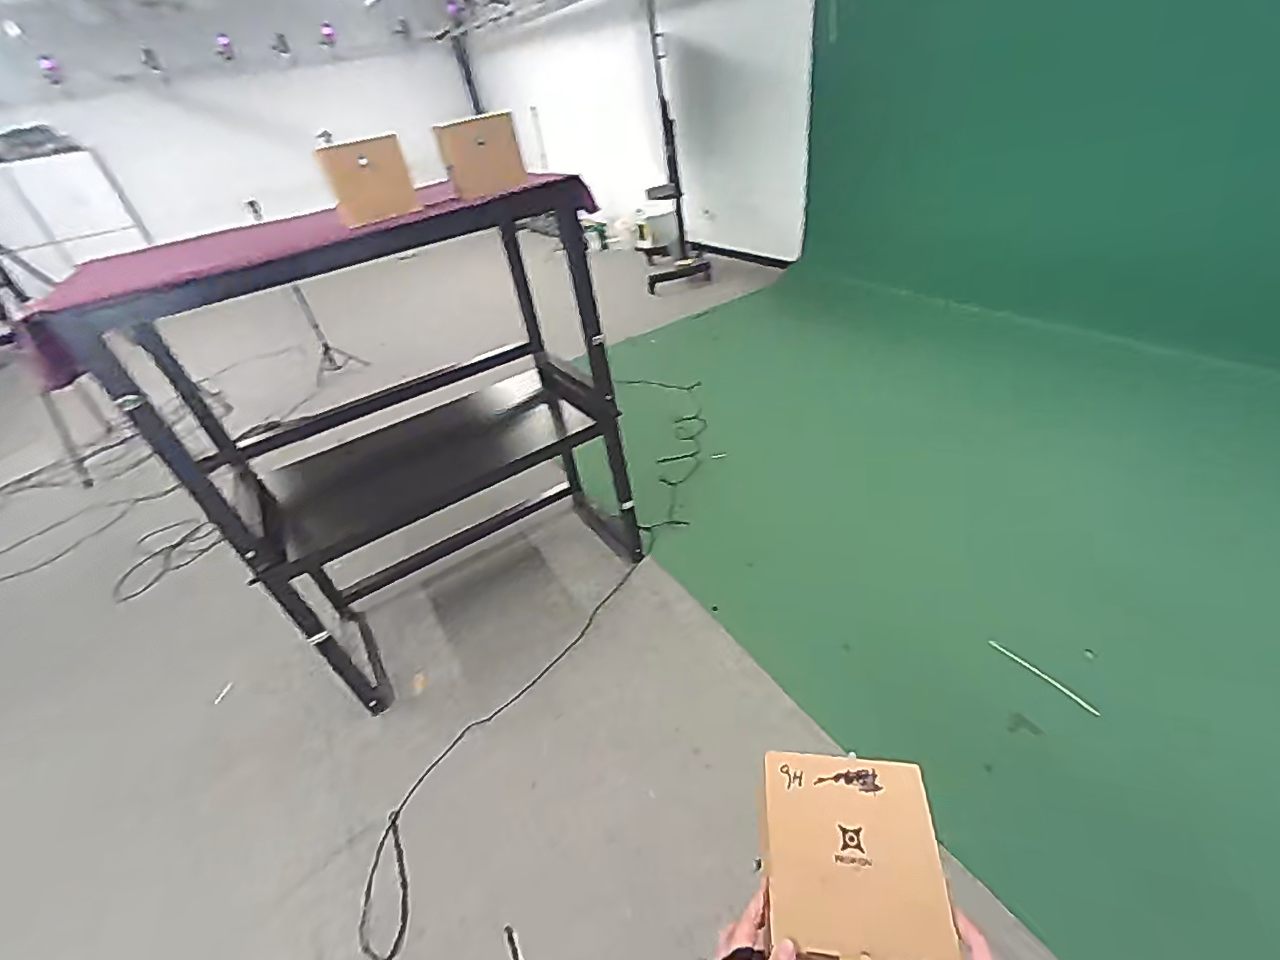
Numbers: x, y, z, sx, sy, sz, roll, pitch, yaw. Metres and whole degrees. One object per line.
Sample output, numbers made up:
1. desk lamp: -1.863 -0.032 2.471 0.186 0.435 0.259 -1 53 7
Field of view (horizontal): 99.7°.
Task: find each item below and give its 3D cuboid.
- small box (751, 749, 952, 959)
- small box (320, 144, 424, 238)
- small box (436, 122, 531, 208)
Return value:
1. small box: 0.211 0.423 0.595 0.168 0.176 0.179 1 45 8
2. small box: -0.654 -0.715 1.333 0.179 0.176 0.168 -27 38 -21
3. small box: -0.412 -0.834 1.434 0.179 0.176 0.168 -25 39 -18
